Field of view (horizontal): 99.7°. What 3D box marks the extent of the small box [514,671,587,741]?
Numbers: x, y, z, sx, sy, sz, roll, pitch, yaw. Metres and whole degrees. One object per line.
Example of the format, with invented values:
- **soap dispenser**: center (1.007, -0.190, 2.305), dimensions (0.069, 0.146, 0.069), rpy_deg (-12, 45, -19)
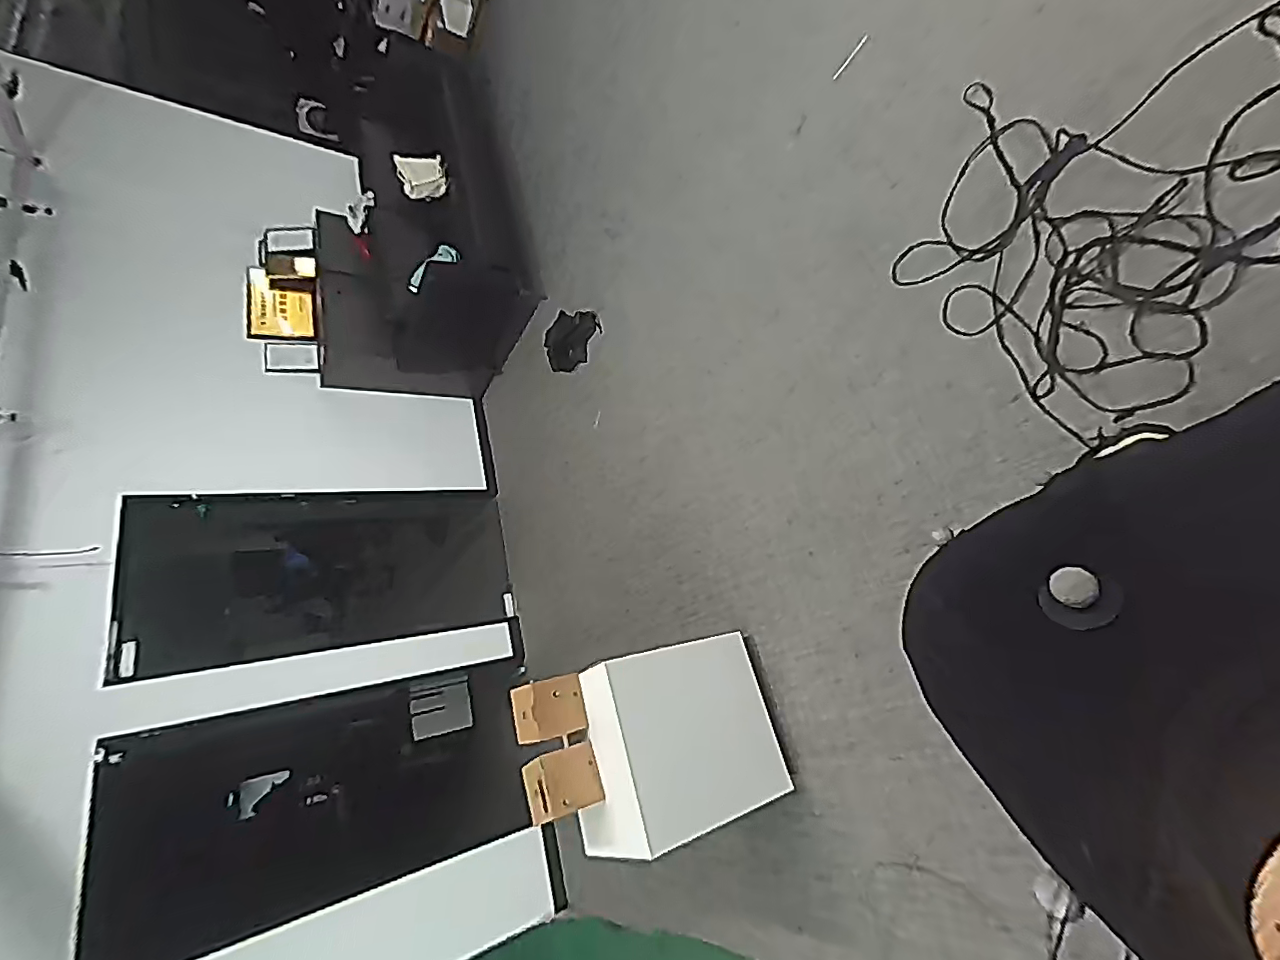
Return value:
- **small box**: center (-0.276, 0.710, 1.699), dimensions (0.179, 0.176, 0.168), rpy_deg (-39, 58, 49)
